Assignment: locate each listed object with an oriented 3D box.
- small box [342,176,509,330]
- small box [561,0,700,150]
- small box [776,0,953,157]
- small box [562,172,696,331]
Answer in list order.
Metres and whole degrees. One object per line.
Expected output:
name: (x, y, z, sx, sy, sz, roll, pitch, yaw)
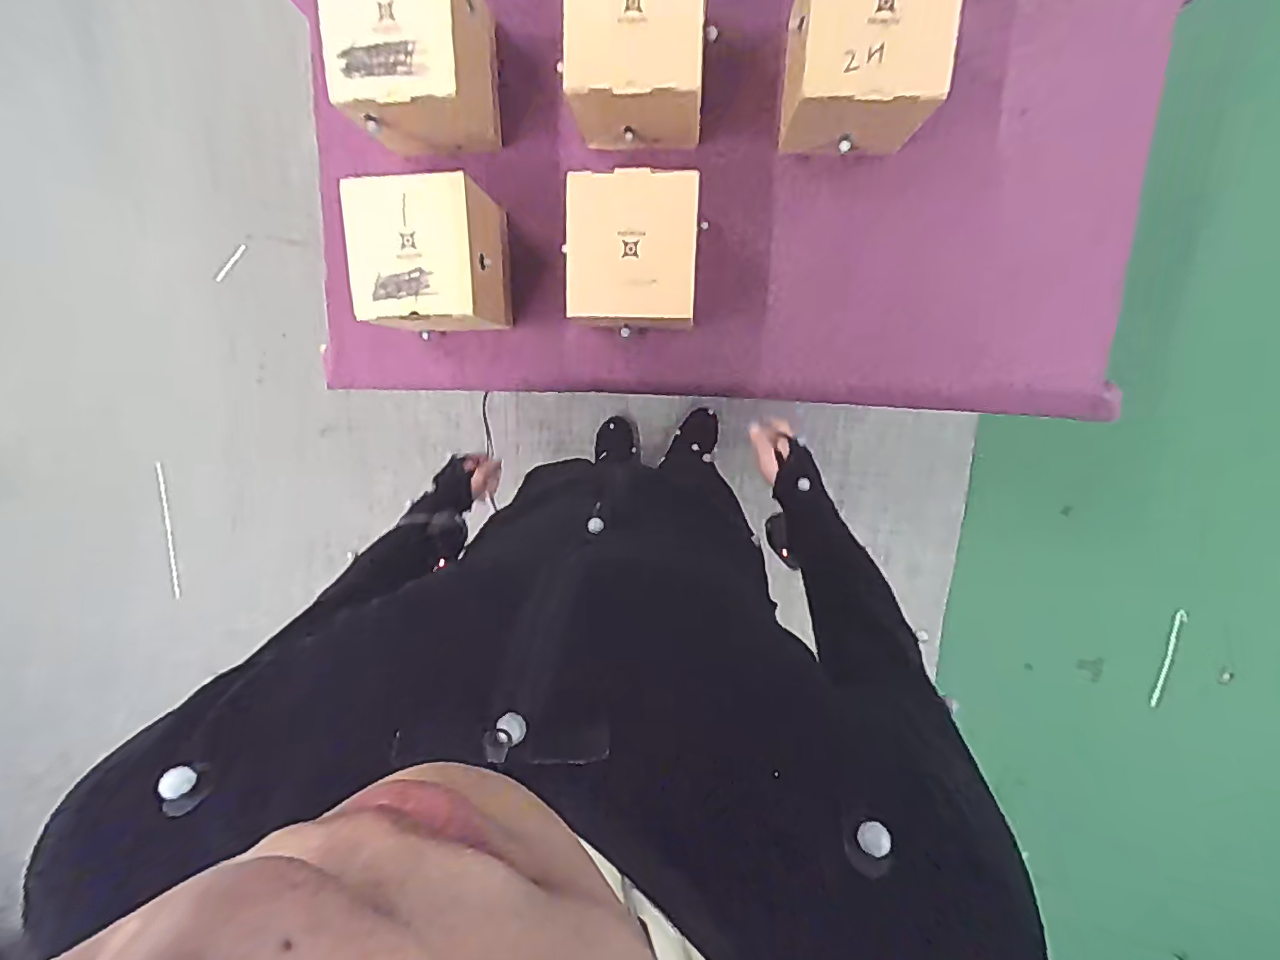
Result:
small box: (-0.296, -0.313, 0.784, 0.168, 0.176, 0.179, 0, 99, 5)
small box: (-0.006, -0.564, 0.712, 0.168, 0.176, 0.179, 2, 102, 5)
small box: (0.273, -0.541, 0.687, 0.168, 0.176, 0.179, 4, 102, 5)
small box: (-0.010, -0.309, 0.761, 0.168, 0.176, 0.179, 3, 102, 5)
